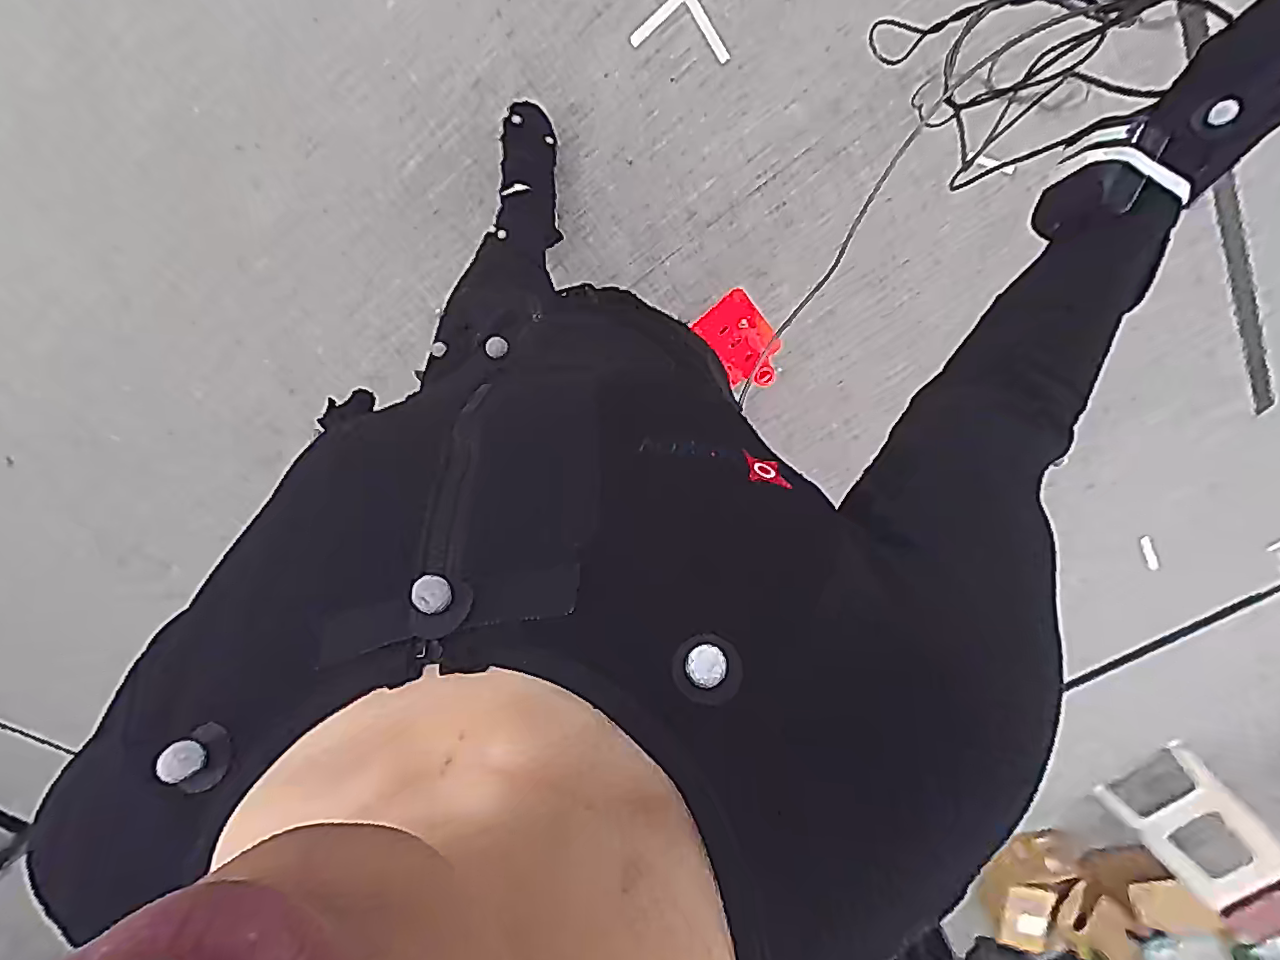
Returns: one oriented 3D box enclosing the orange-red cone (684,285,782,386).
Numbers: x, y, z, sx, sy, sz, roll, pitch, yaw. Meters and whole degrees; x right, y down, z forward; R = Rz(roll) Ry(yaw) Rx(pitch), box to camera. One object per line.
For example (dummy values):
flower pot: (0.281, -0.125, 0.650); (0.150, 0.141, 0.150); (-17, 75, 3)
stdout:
orange-red cone: (0.244, -0.284, 1.213); (0.198, 0.360, 0.199); (-37, 113, 15)
